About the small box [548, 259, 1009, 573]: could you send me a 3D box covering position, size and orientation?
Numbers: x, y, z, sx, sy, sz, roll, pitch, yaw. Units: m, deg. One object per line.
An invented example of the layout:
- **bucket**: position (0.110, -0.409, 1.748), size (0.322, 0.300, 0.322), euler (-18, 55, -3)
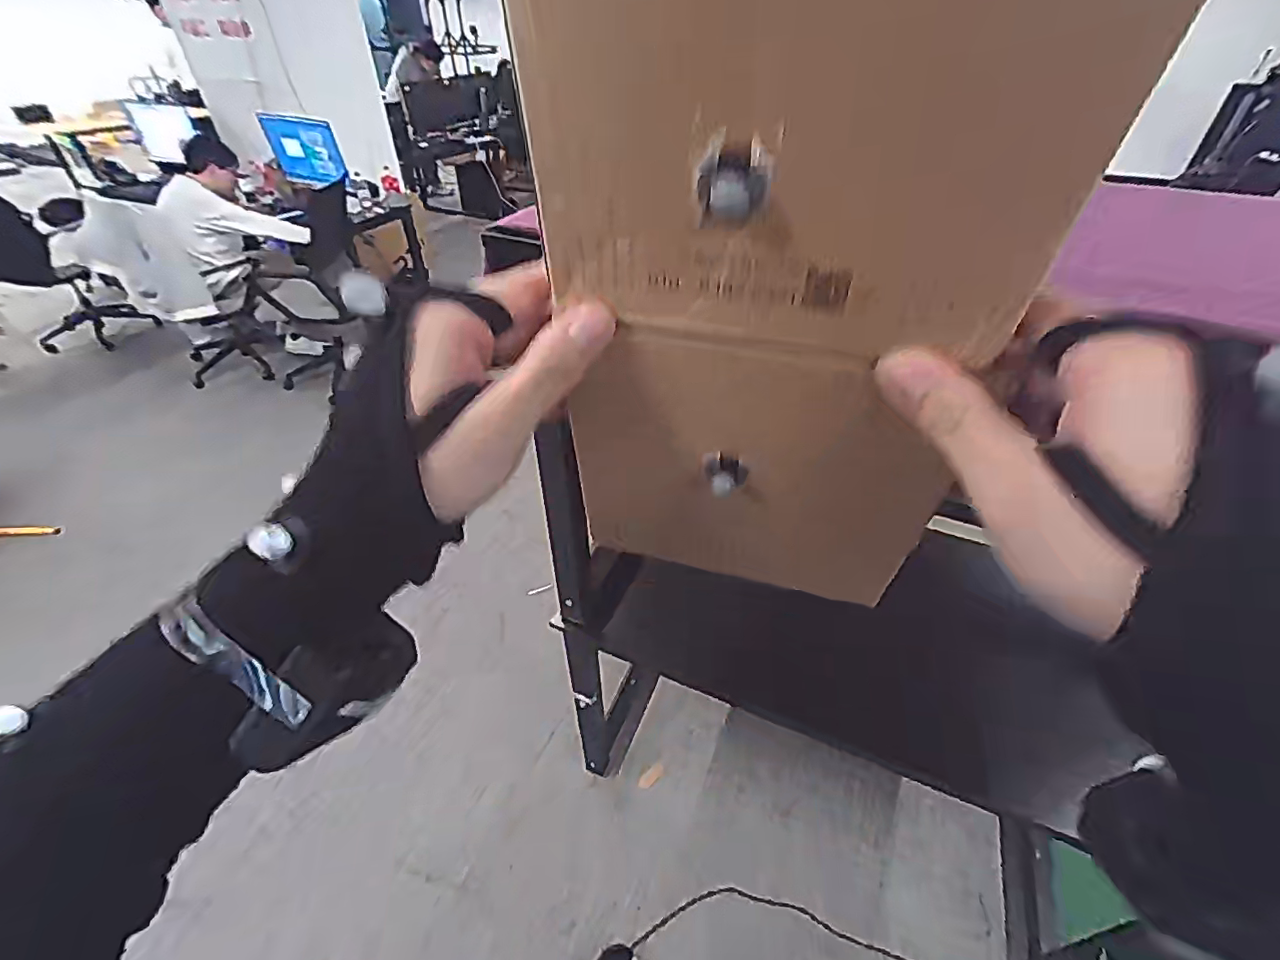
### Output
- **small box**: position (0.070, -0.066, 0.312), size (0.179, 0.176, 0.168), euler (11, 51, 12)

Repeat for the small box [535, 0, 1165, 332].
- **small box**: position (0.064, -0.179, 0.195), size (0.168, 0.176, 0.179), euler (11, 52, 11)
